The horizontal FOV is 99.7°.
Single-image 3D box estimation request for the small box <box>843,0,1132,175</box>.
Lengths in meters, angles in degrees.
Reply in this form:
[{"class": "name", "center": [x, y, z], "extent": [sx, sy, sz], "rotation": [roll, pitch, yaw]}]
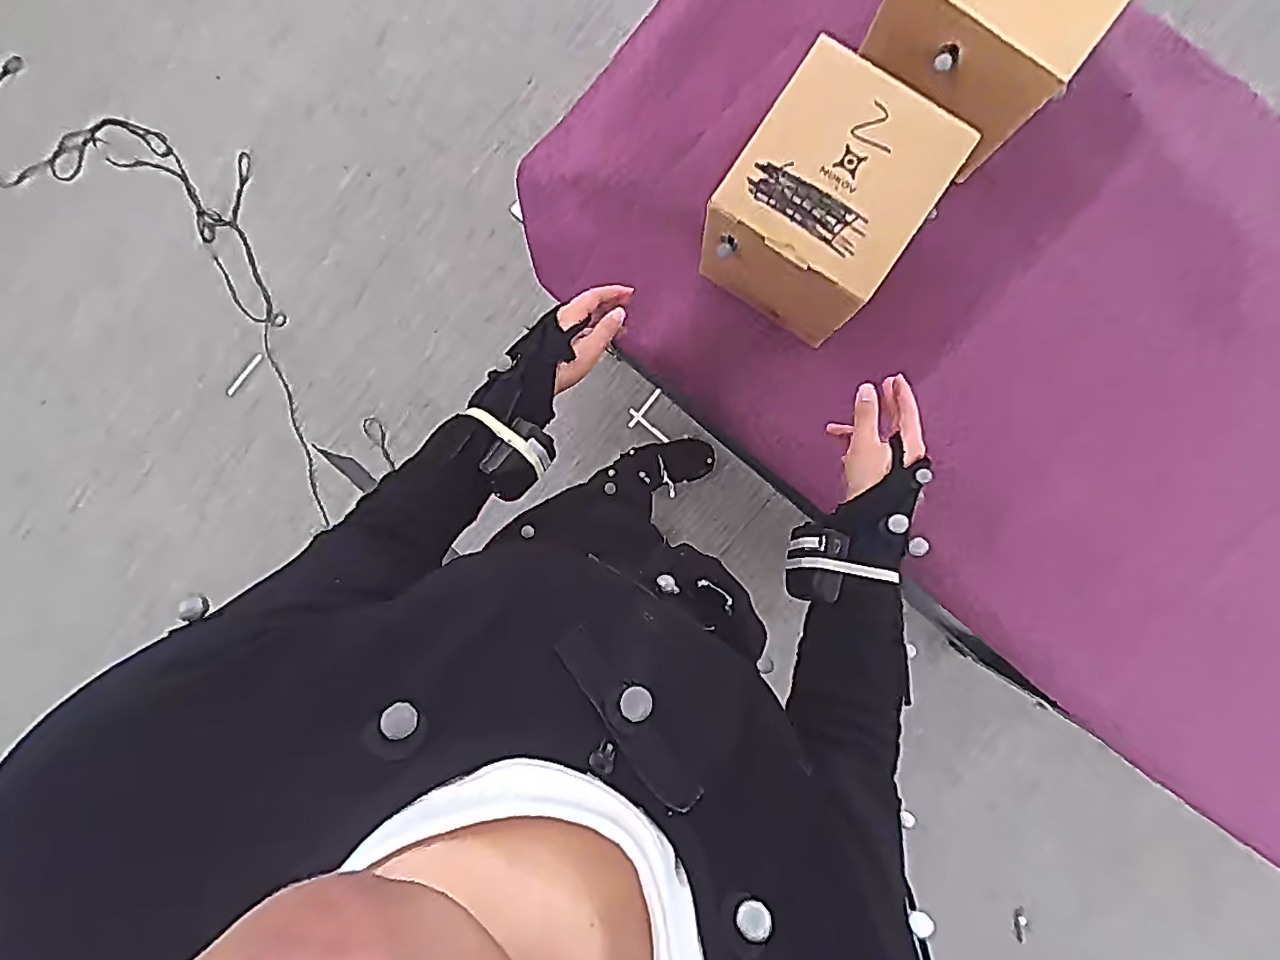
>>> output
[{"class": "small box", "center": [0.342, -0.448, 0.542], "extent": [0.179, 0.176, 0.168], "rotation": [37, 93, 2]}]
